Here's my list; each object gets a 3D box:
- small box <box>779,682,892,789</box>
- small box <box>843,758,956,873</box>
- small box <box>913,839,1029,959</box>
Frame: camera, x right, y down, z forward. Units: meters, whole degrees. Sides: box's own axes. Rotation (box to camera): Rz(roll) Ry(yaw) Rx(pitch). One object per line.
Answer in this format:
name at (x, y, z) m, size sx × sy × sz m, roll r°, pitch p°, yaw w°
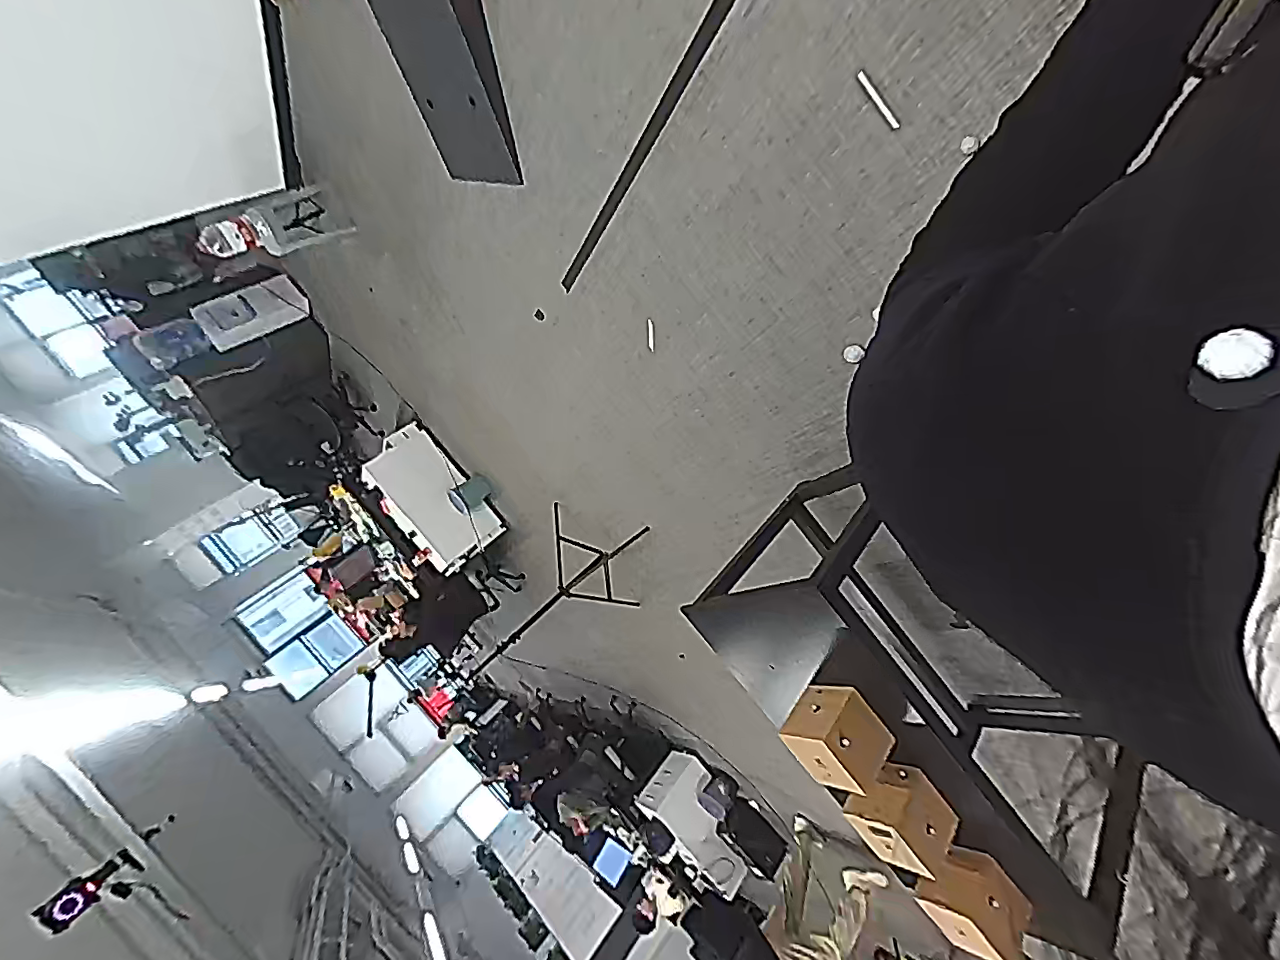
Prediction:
small box at (0.495, 0.634, 1.367) m, size 0.179 × 0.176 × 0.168 m, roll 51°, pitch 150°, yaw -3°
small box at (0.665, 0.843, 1.384) m, size 0.179 × 0.176 × 0.168 m, roll 51°, pitch 149°, yaw -5°
small box at (0.855, 1.069, 1.395) m, size 0.179 × 0.176 × 0.168 m, roll 49°, pitch 150°, yaw -2°
